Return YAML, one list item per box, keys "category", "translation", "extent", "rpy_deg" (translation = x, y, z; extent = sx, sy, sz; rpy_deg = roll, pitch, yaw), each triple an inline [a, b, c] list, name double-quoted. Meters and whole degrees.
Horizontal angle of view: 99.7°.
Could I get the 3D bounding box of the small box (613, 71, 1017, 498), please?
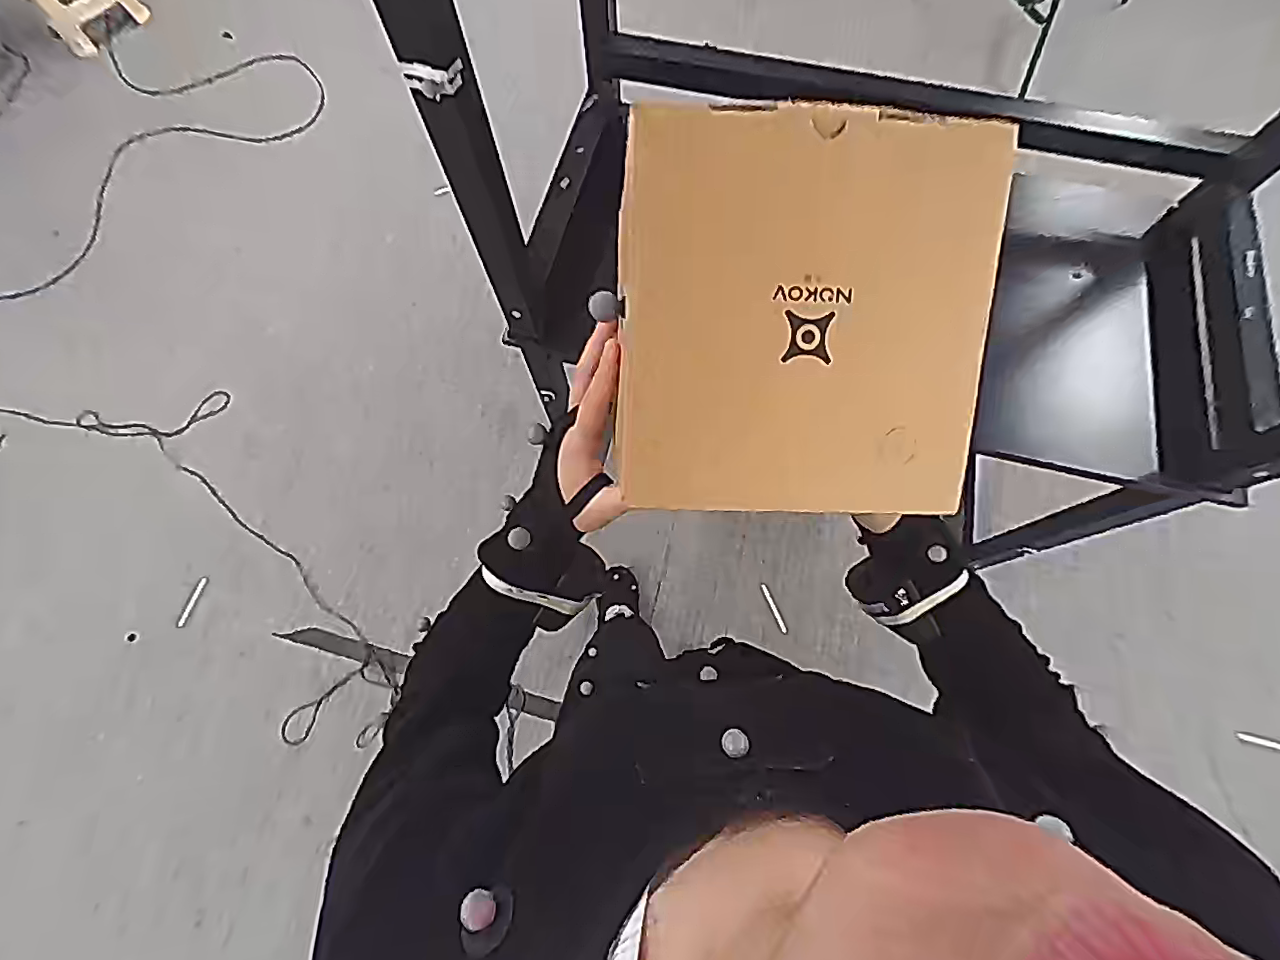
- category: "small box"
  translation: [0.069, -0.094, 0.315]
  extent: [0.168, 0.176, 0.179]
  rpy_deg: [0, 102, -4]
